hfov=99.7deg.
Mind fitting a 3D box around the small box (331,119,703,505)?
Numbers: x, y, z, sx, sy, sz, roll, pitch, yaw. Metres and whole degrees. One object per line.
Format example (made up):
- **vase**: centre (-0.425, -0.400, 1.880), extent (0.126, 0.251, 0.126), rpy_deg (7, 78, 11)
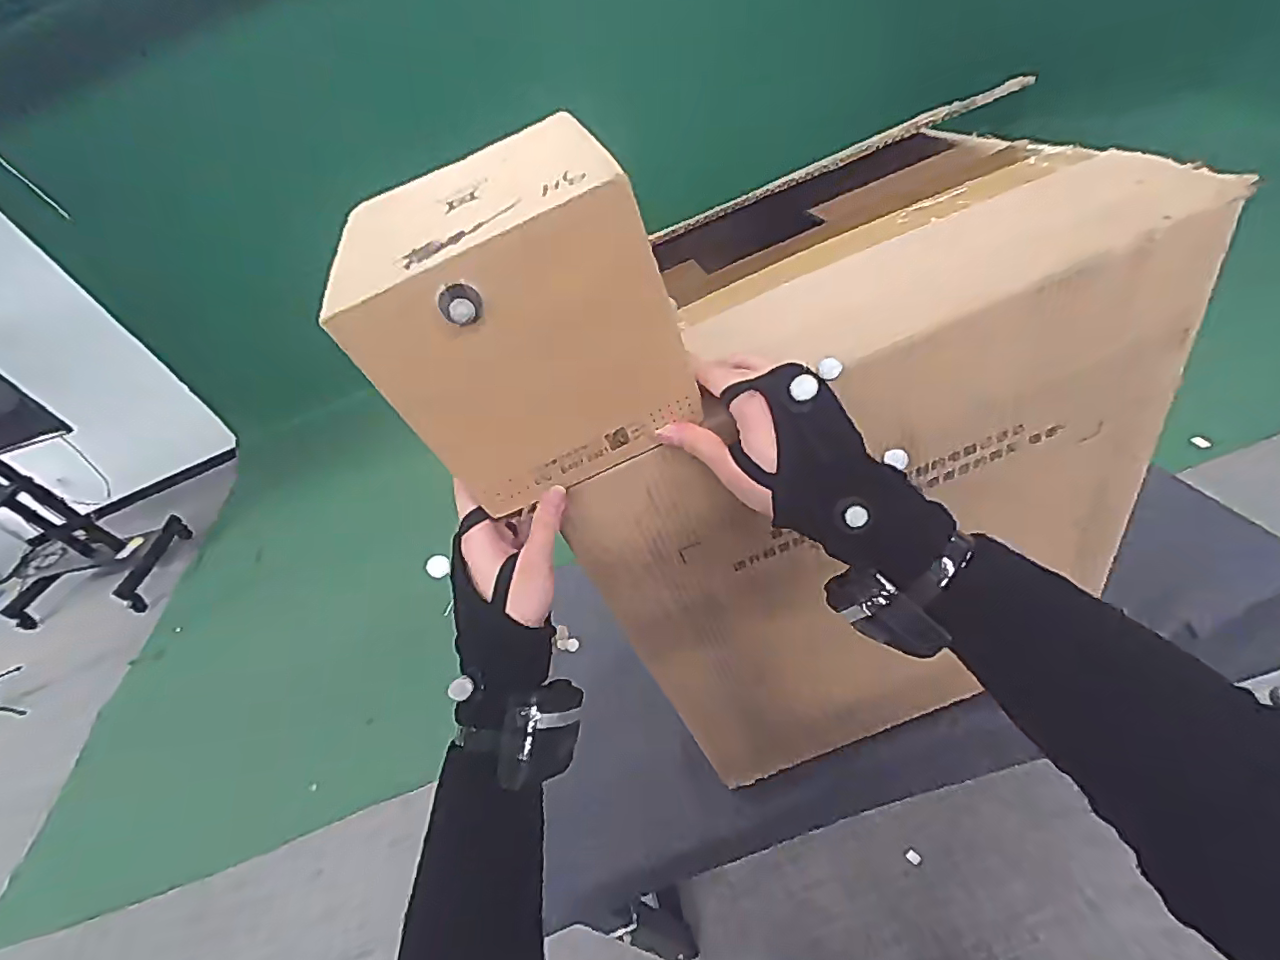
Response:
- **small box**: centre (-0.074, -0.115, 0.380), extent (0.168, 0.176, 0.179), rpy_deg (-25, 44, 3)
